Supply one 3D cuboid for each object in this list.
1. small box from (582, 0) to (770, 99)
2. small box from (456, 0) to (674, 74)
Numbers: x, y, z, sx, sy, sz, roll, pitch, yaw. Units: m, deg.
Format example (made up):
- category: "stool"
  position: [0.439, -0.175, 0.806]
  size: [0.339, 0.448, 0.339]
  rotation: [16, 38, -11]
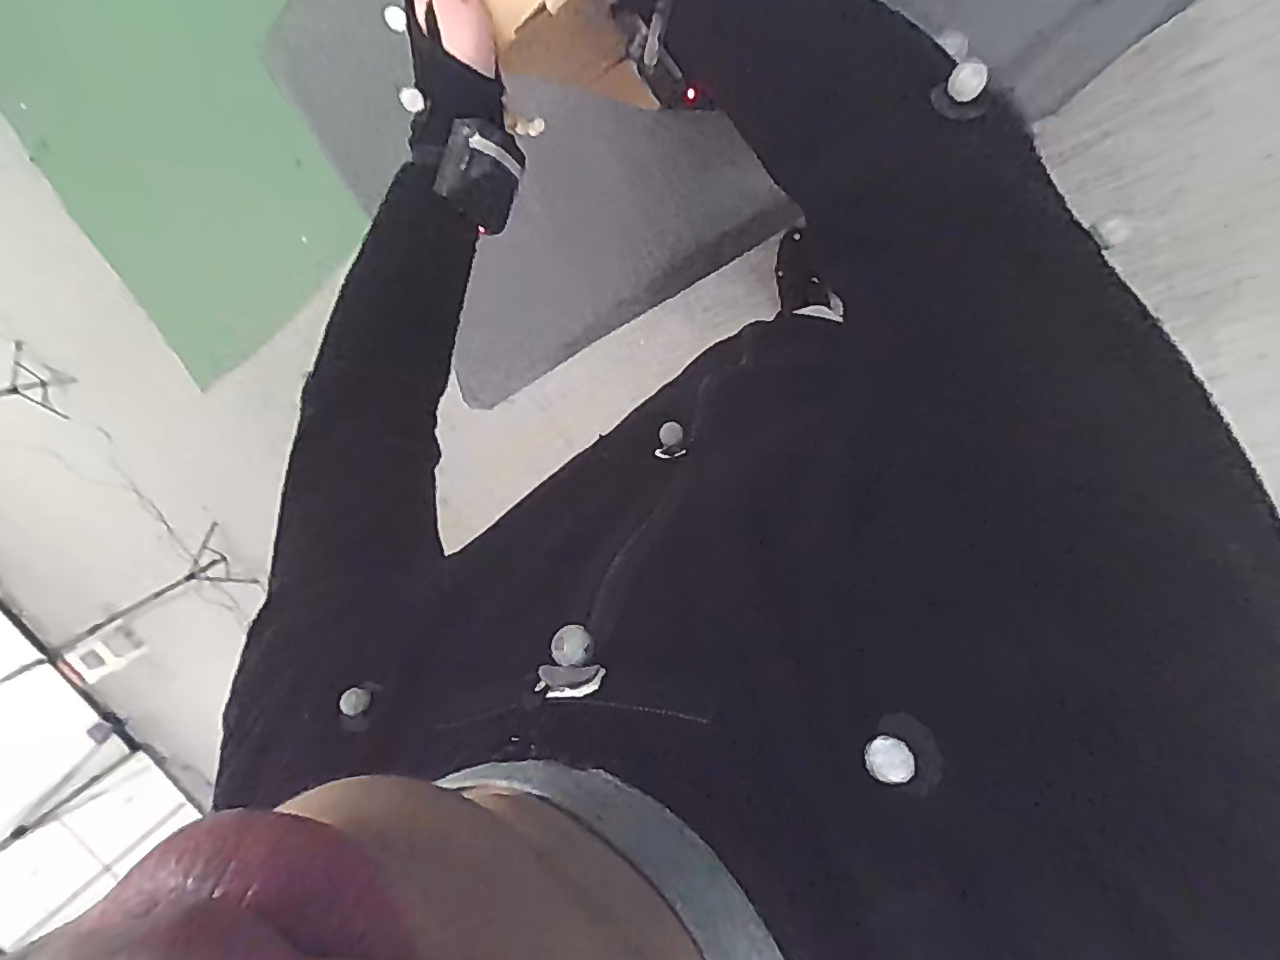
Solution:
- category: "small box"
  position: [0.008, -0.508, 0.525]
  size: [0.168, 0.176, 0.179]
  rotation: [-22, 104, 33]
- category: "small box"
  position: [-0.058, -0.437, 0.396]
  size: [0.168, 0.176, 0.179]
  rotation: [-21, 110, 30]
